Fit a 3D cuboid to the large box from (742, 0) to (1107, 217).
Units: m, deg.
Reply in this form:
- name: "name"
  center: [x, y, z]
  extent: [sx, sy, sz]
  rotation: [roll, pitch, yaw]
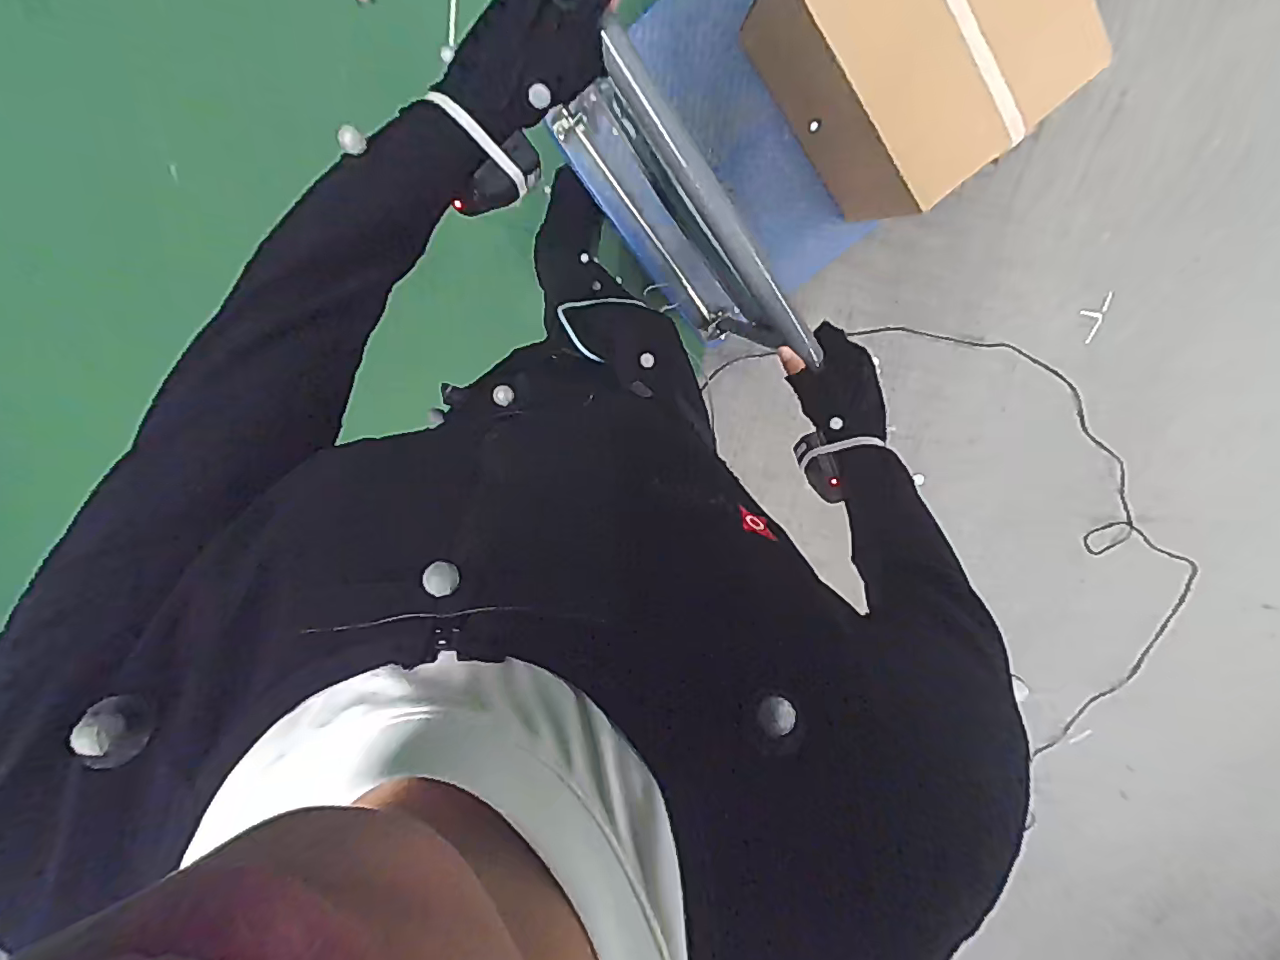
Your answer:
- name: "large box"
  center: [0.429, -0.710, 0.890]
  extent: [0.320, 0.320, 0.408]
  rotation: [-38, 108, 13]
